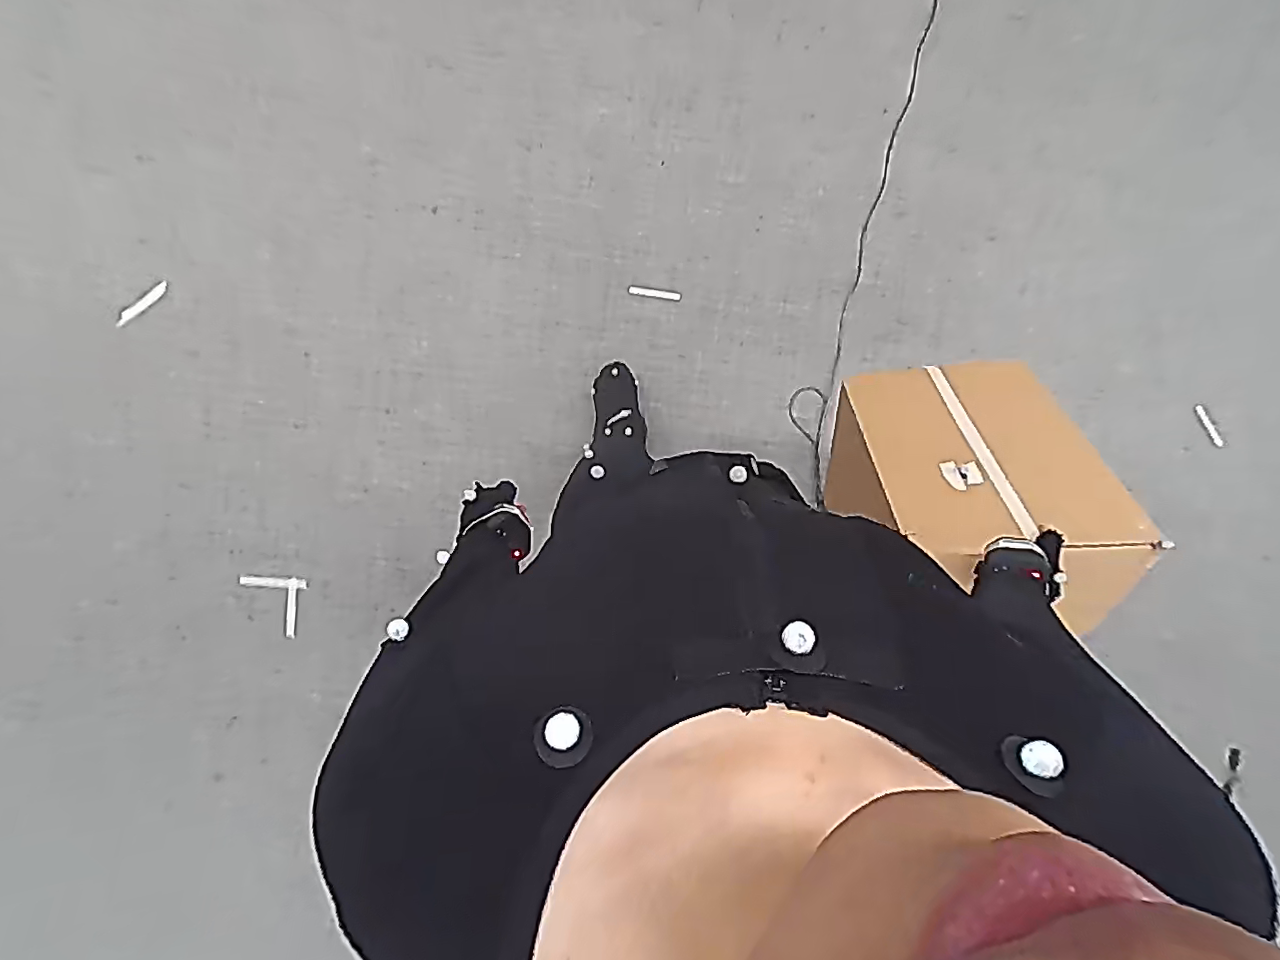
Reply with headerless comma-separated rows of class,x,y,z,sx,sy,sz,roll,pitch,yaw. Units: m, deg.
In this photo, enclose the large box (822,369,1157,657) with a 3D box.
large box,0.537,0.055,0.954,0.320,0.408,0.320,-4,137,6
